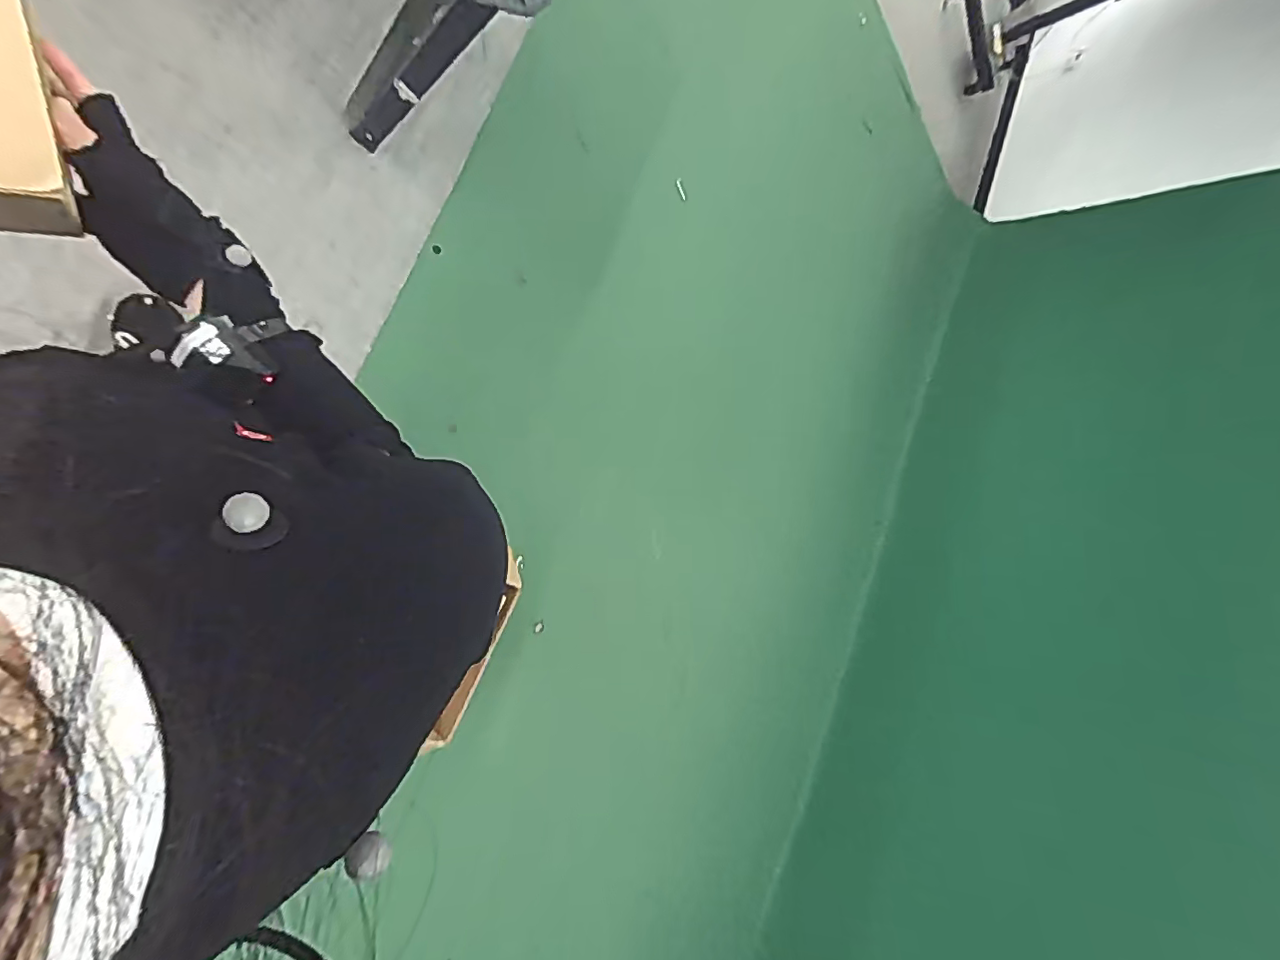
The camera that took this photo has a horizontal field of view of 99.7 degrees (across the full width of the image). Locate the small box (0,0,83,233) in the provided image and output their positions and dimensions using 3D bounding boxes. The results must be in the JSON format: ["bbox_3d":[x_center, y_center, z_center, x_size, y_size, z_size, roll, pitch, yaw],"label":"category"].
[{"bbox_3d":[-0.449,-0.254,0.303,0.168,0.176,0.179,-13,110,-41],"label":"small box"}]
